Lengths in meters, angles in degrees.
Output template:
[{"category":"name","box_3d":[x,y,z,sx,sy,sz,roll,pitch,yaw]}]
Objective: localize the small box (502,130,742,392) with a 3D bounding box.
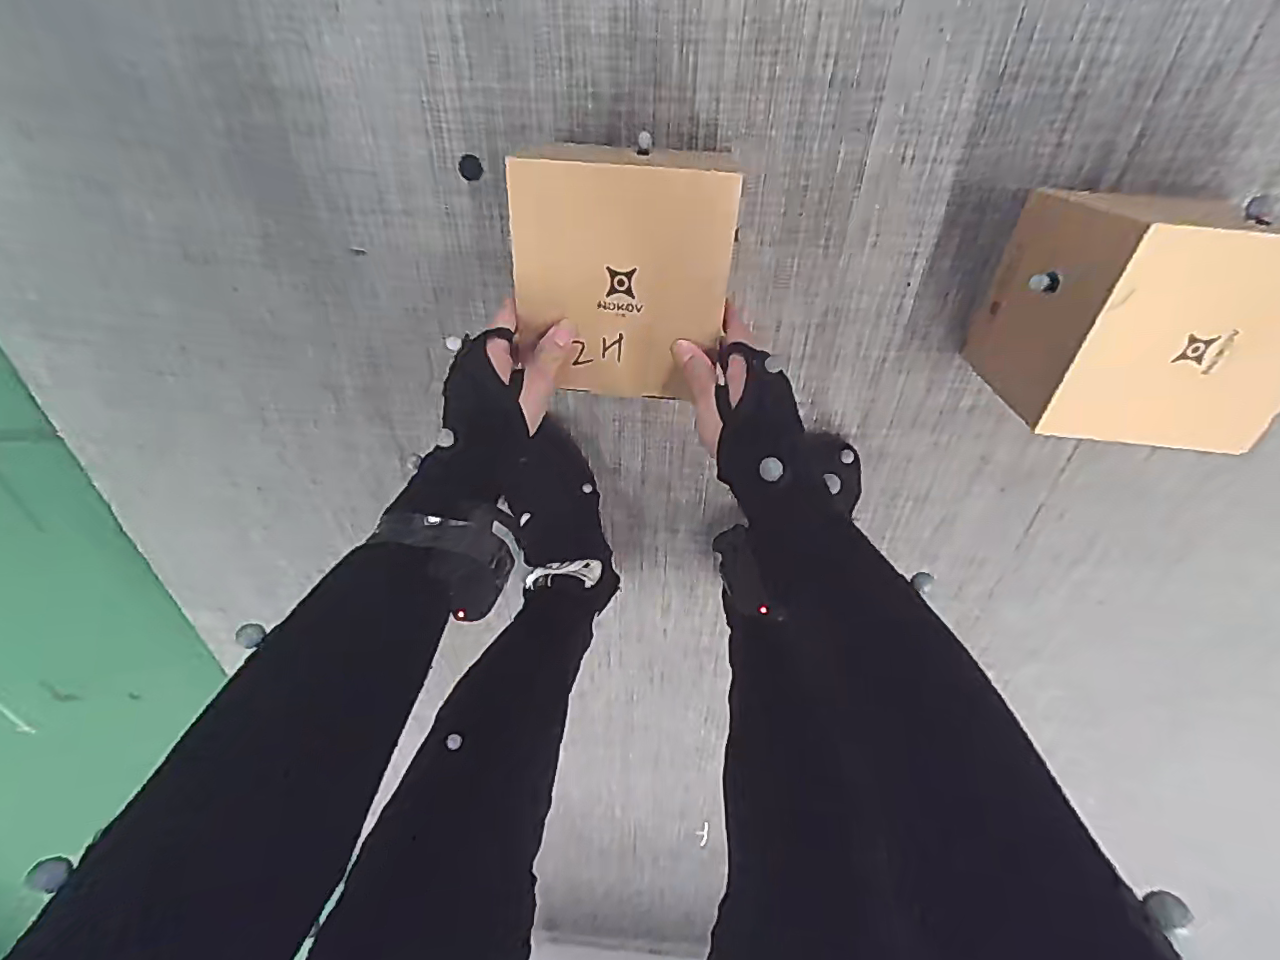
[{"category":"small box","box_3d":[-0.011,-0.197,0.472,0.168,0.176,0.179,6,125,3]}]

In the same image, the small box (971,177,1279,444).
[{"category":"small box","box_3d":[0.421,-0.149,0.455,0.179,0.176,0.168,5,126,2]}]
